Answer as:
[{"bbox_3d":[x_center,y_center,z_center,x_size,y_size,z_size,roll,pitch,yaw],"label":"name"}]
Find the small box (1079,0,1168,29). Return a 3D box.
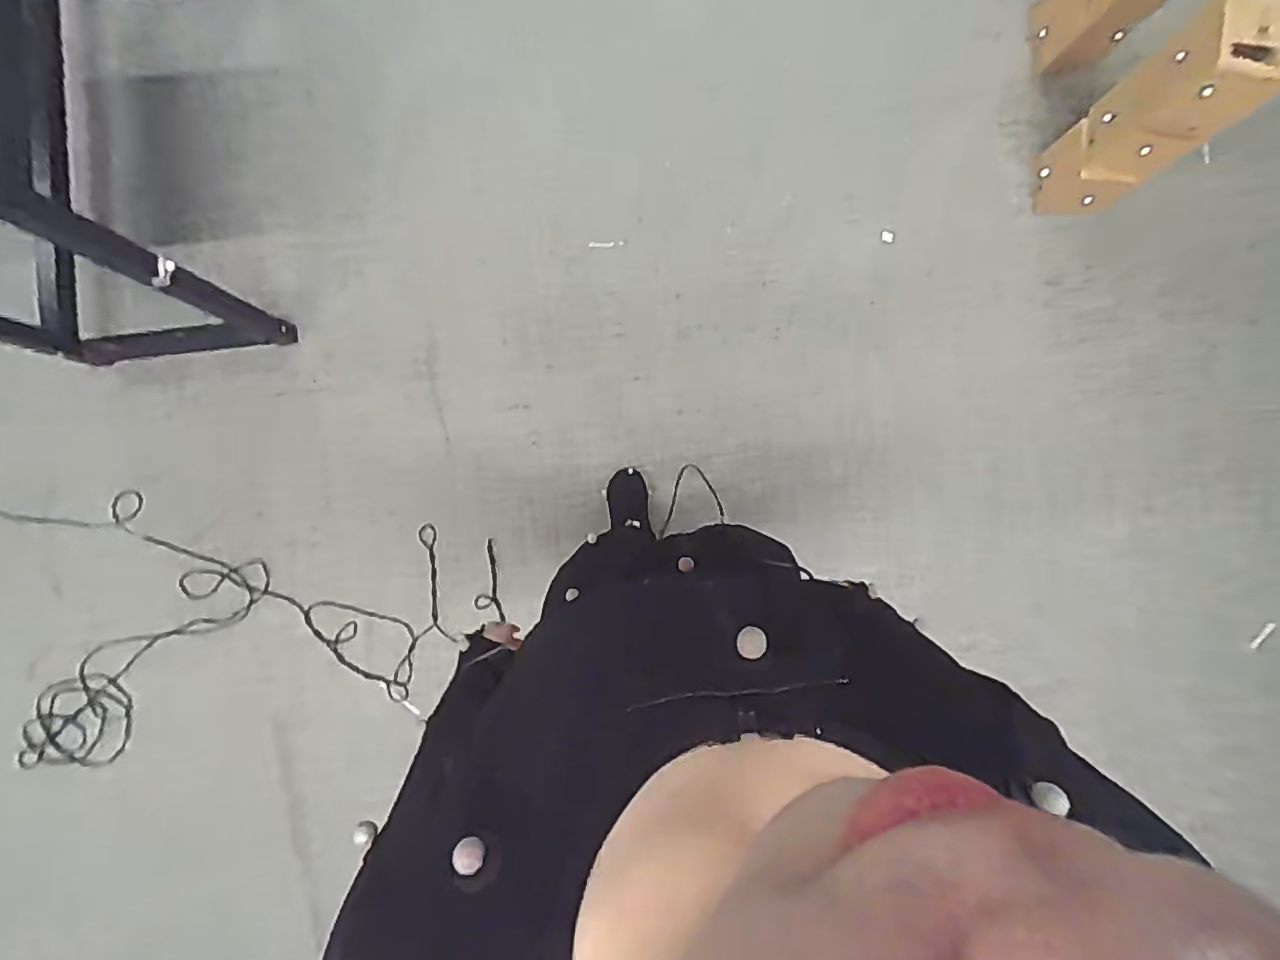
[{"bbox_3d":[1.235,-1.269,1.335,0.179,0.176,0.168,-10,87,-1],"label":"small box"}]

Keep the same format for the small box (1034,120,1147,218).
[{"bbox_3d":[1.224,-0.839,1.475,0.179,0.176,0.168,4,87,0],"label":"small box"}]

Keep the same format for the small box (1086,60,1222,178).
[{"bbox_3d":[1.236,-0.867,1.313,0.179,0.176,0.168,8,87,0],"label":"small box"}]

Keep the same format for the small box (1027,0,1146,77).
[{"bbox_3d":[1.228,-1.266,1.497,0.179,0.176,0.168,-10,87,-1],"label":"small box"}]
